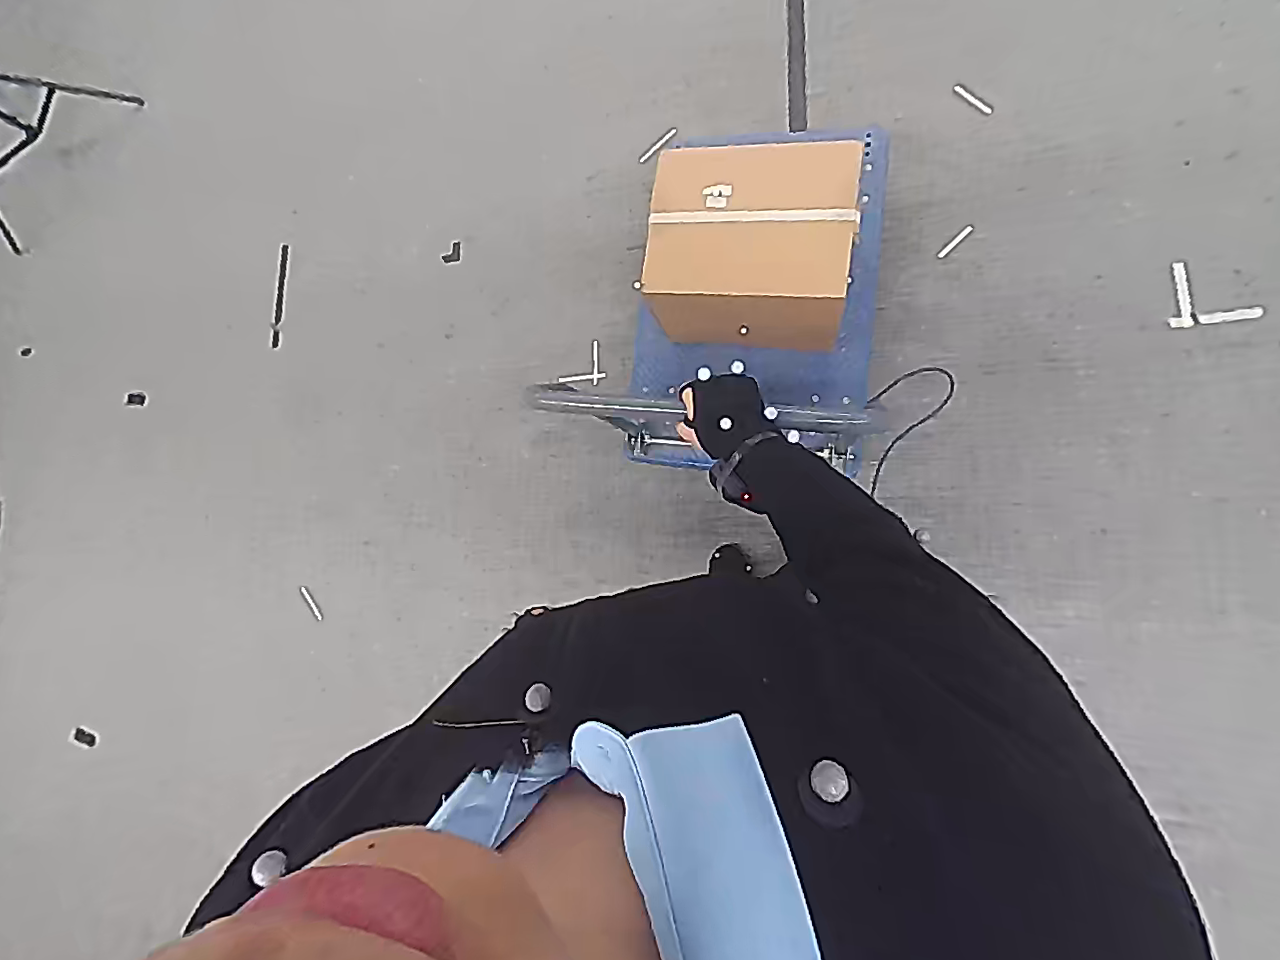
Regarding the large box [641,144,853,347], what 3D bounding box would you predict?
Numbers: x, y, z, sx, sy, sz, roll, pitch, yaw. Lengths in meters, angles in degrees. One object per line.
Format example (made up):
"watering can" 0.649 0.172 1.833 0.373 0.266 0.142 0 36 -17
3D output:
"large box" 0.251 -0.501 1.231 0.408 0.320 0.320 6 85 17
